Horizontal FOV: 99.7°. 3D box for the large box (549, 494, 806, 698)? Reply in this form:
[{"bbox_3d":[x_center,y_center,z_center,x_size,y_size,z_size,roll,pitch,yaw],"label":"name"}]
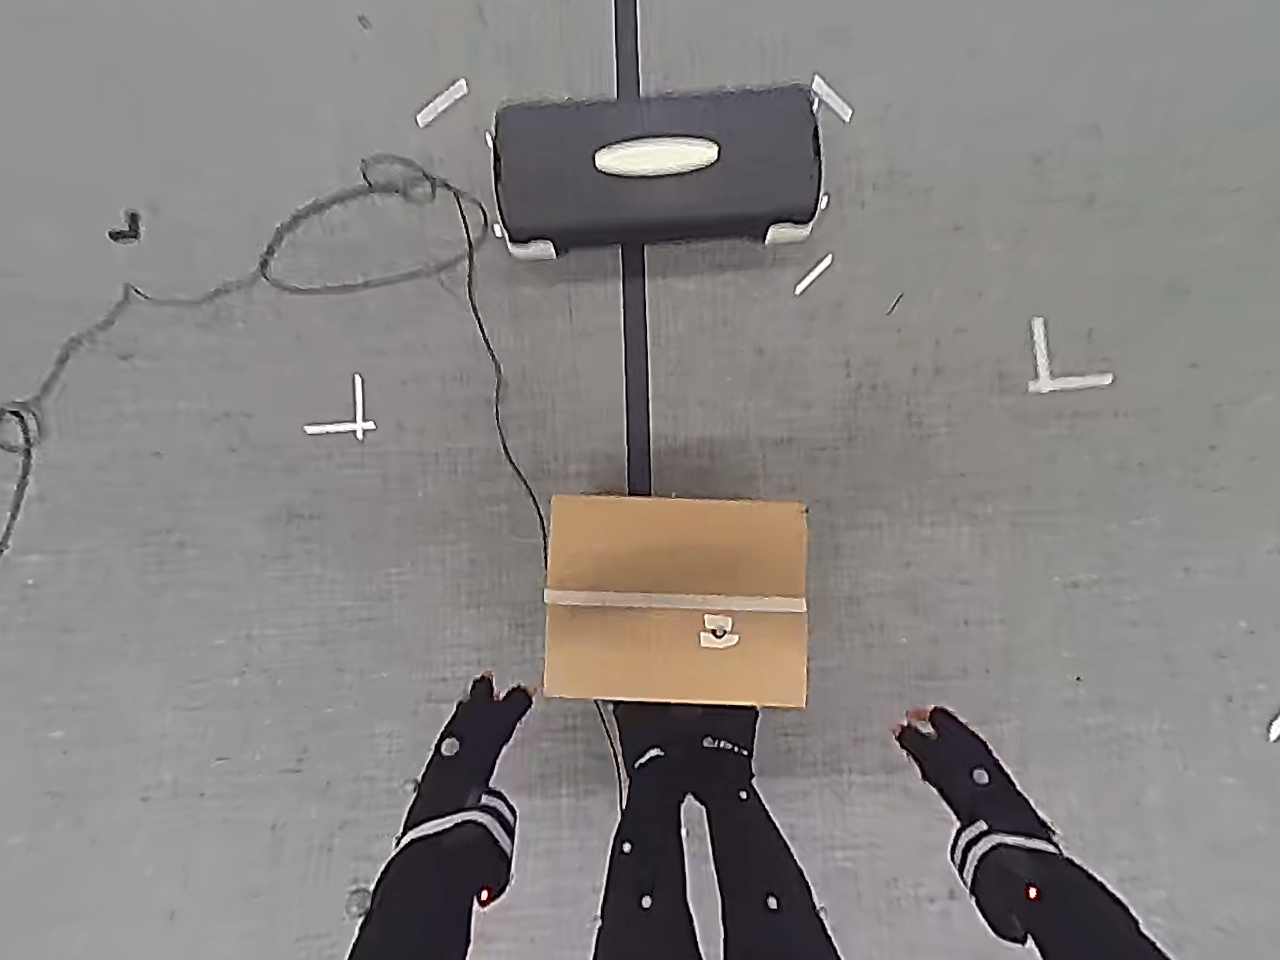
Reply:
[{"bbox_3d":[0.058,0.191,0.988,0.408,0.320,0.320,2,87,0],"label":"large box"}]
